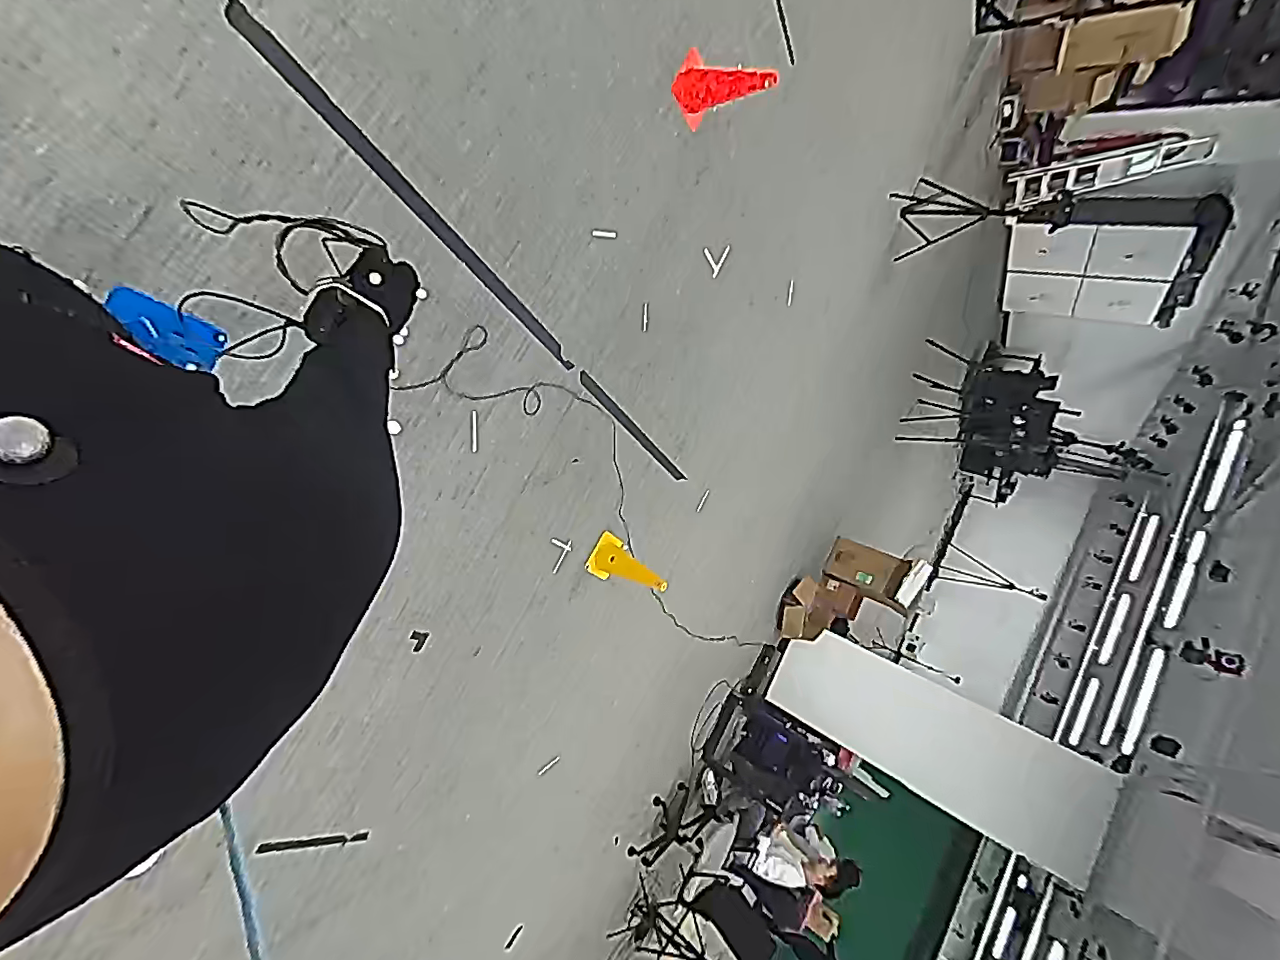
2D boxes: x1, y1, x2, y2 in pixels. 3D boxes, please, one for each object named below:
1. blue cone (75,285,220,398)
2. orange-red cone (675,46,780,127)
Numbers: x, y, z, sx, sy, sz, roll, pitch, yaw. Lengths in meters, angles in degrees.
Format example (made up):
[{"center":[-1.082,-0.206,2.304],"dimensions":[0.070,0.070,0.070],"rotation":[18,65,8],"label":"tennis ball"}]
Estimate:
[{"center":[-0.877,-0.228,1.011],"dimensions":[0.193,0.380,0.192],"rotation":[33,81,-54],"label":"blue cone"},{"center":[0.335,-1.442,1.954],"dimensions":[0.199,0.360,0.198],"rotation":[34,80,-53],"label":"orange-red cone"}]
